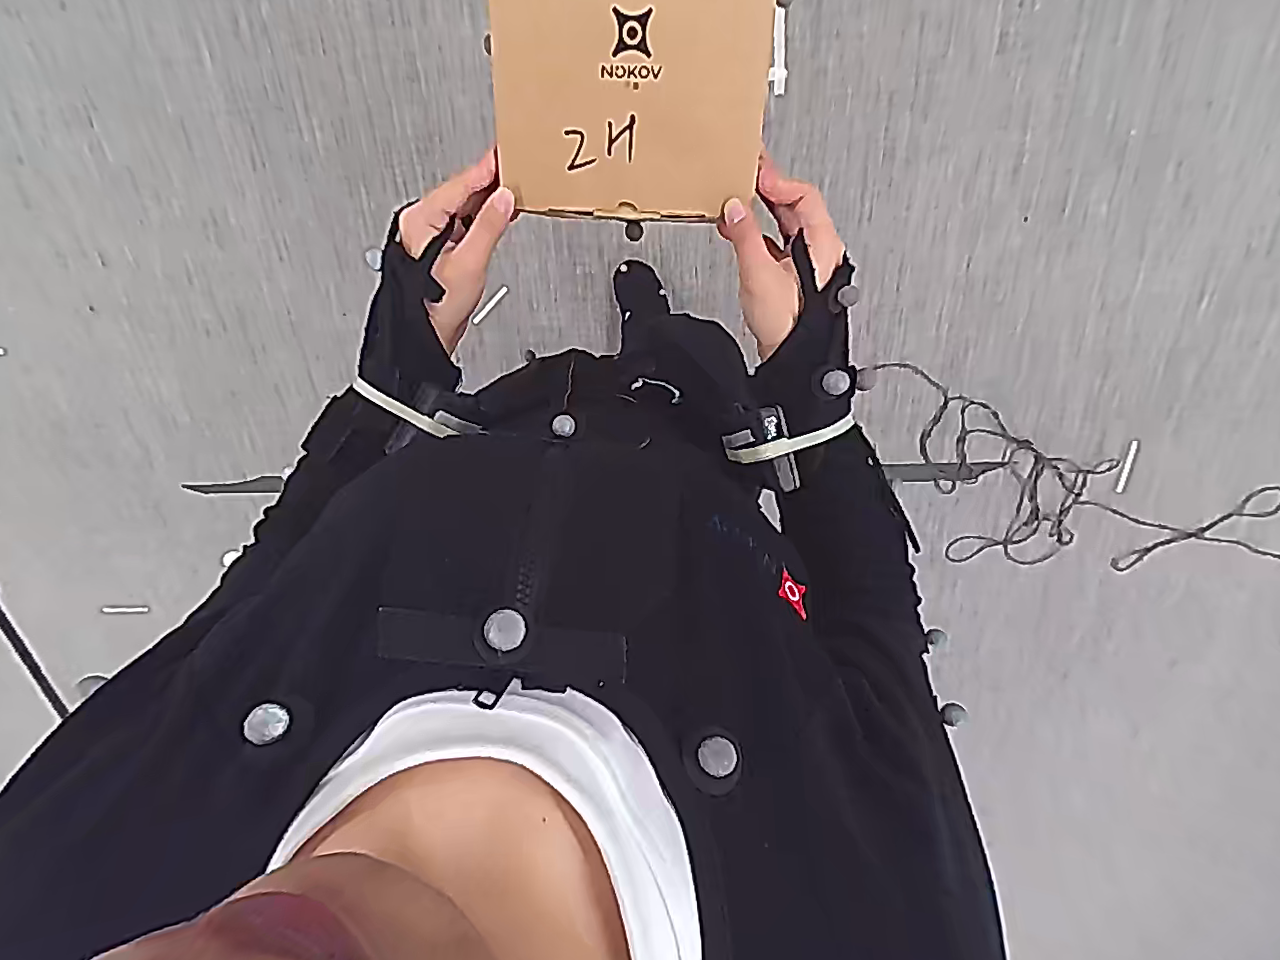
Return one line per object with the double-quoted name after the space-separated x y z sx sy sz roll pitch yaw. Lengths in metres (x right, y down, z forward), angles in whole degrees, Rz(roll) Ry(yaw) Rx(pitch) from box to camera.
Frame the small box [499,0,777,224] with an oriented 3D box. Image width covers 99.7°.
0.000 -0.290 0.397 0.168 0.176 0.179 3 115 1 "small box"
